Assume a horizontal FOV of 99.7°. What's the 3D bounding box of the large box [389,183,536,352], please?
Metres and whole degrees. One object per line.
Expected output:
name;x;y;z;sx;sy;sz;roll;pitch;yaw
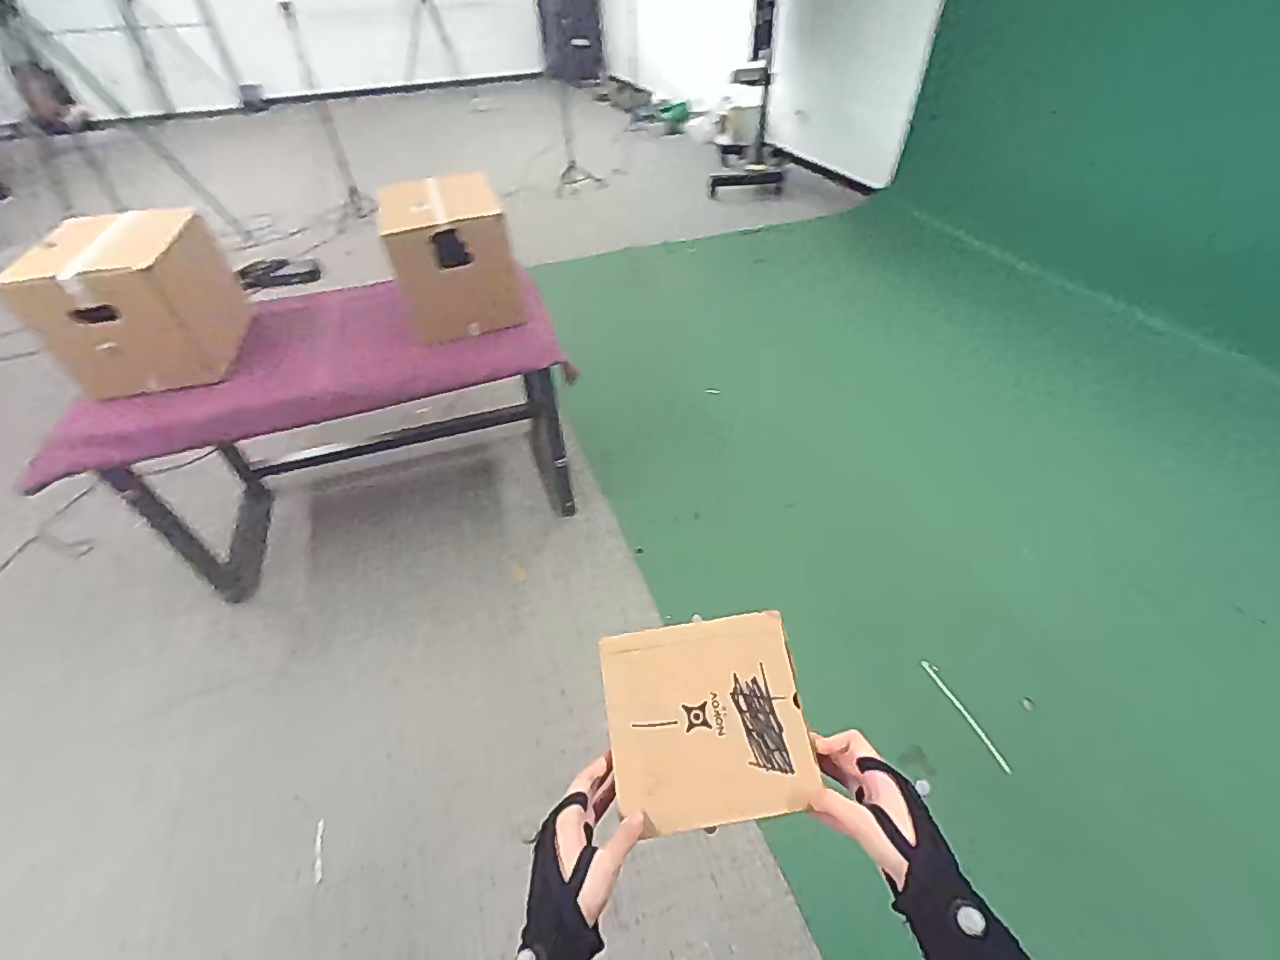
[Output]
large box;-0.521;-0.635;1.597;0.320;0.320;0.408;-17;47;-11

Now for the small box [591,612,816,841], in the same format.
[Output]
small box;0.050;0.240;0.546;0.179;0.176;0.168;-8;65;-3
